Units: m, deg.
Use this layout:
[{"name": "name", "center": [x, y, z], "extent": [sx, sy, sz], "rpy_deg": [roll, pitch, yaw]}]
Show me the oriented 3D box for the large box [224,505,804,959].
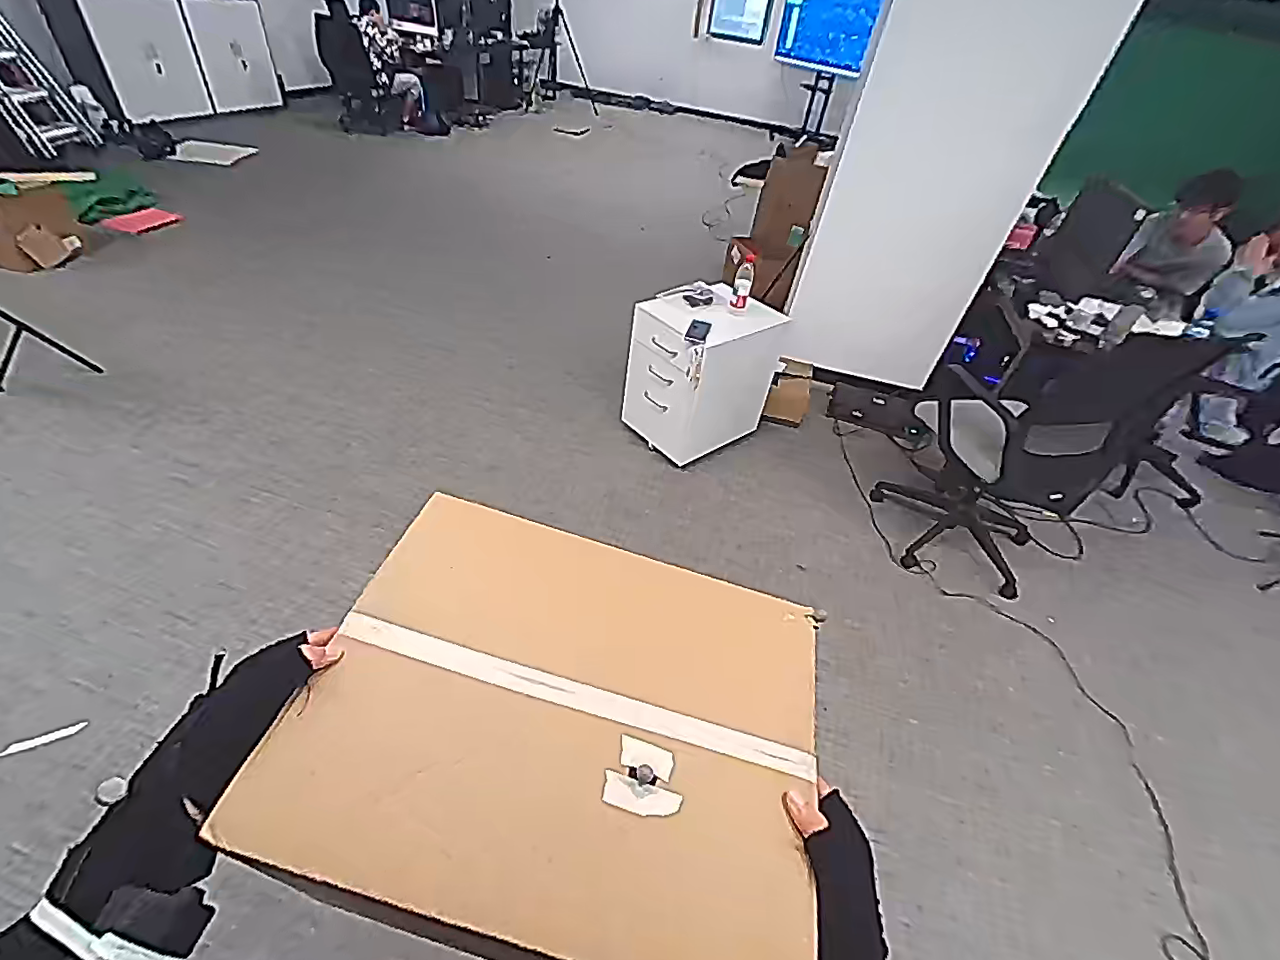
[{"name": "large box", "center": [-0.084, 0.282, 0.560], "extent": [0.408, 0.320, 0.320], "rpy_deg": [17, 47, 1]}]
